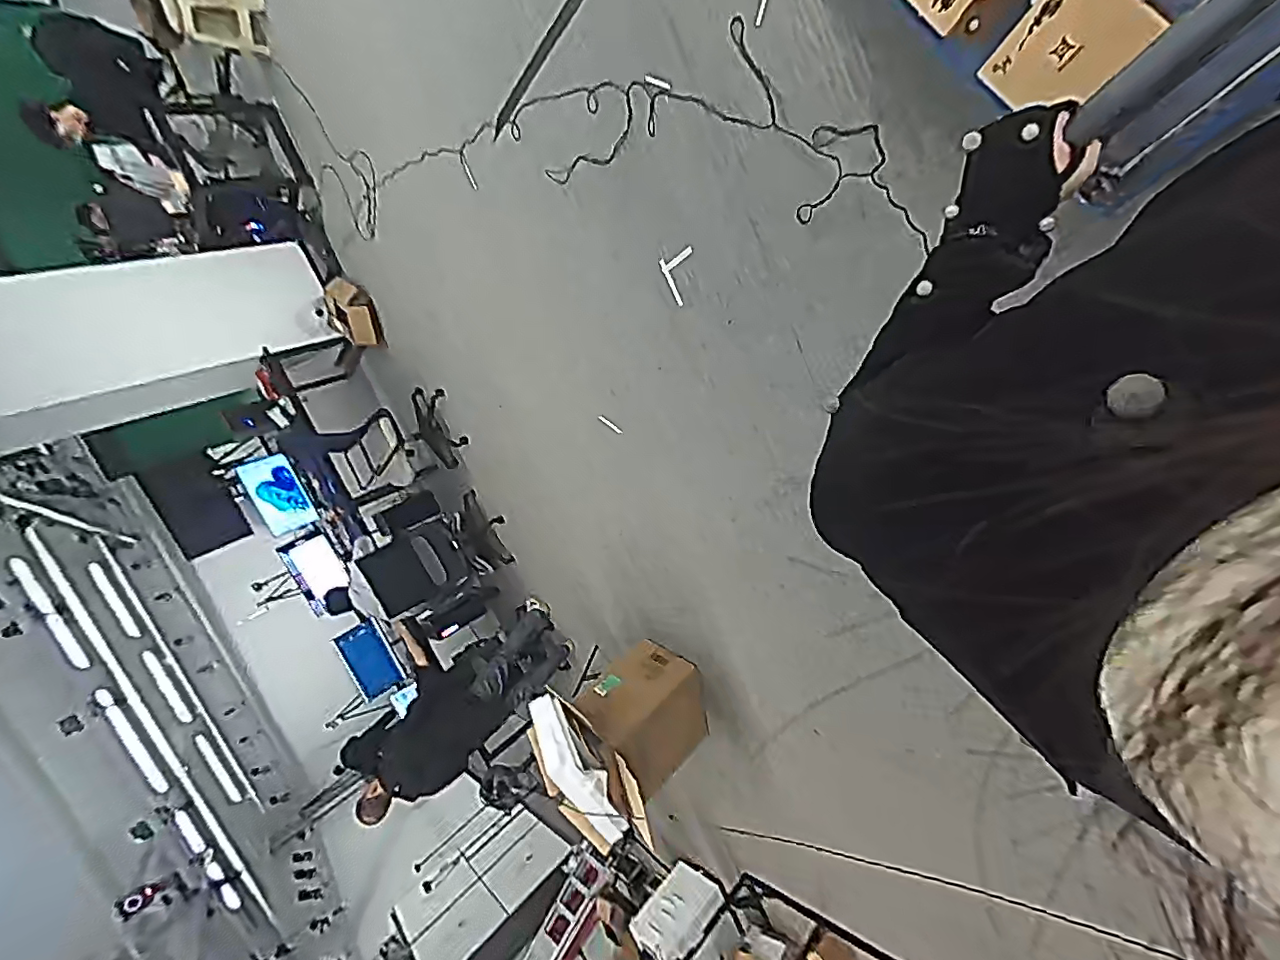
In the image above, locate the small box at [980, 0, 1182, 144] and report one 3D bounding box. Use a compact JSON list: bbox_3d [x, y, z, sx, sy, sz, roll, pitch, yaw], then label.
[{"bbox_3d":[0.680,-0.659,0.834,0.179,0.176,0.168,52,142,9],"label":"small box"}]
